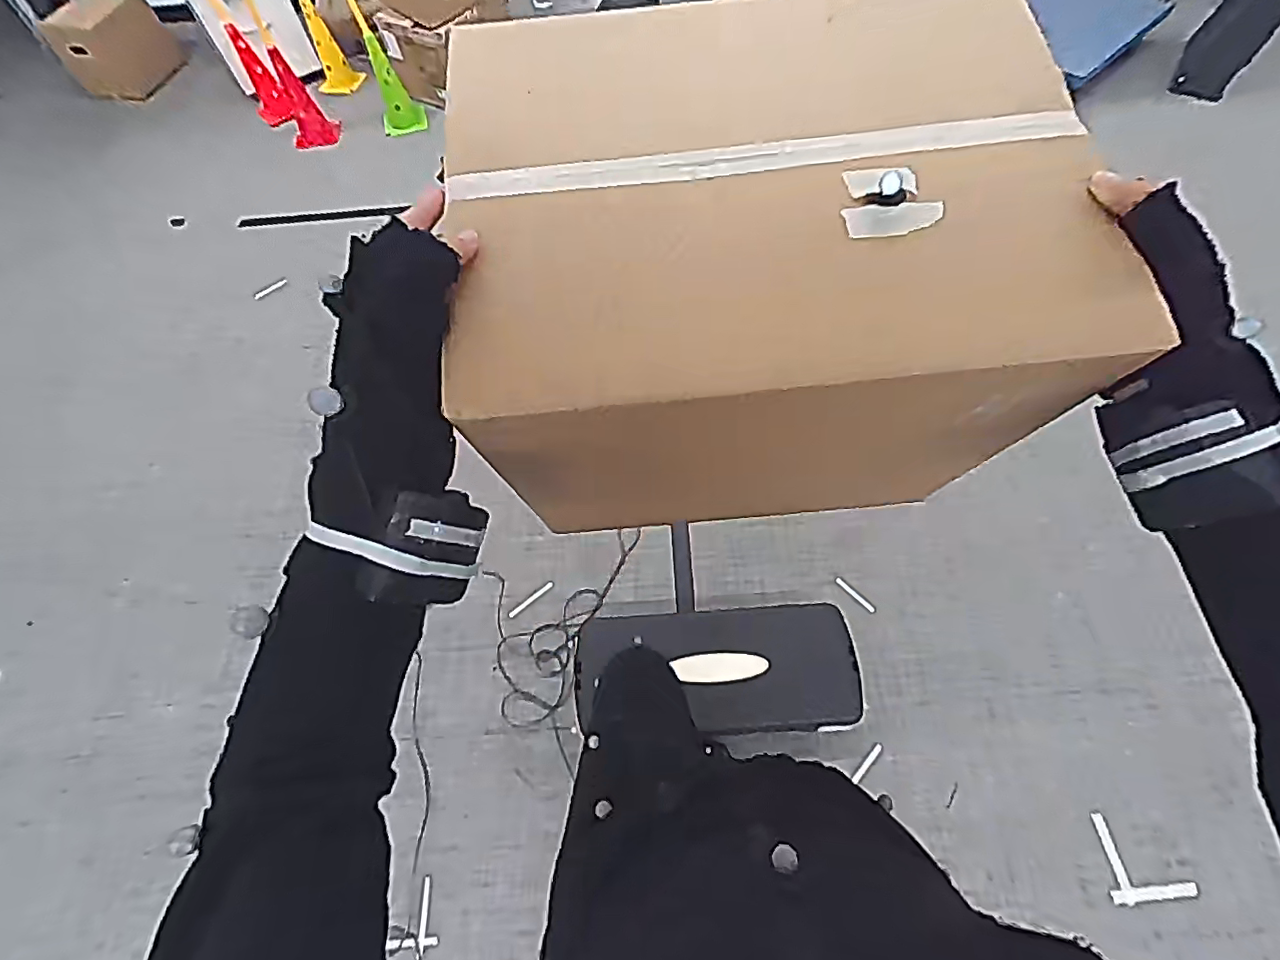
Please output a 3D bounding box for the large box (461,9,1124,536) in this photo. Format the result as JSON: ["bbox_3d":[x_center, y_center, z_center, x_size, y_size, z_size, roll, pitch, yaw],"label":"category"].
[{"bbox_3d":[0.079,-0.149,0.507,0.408,0.320,0.320,-6,72,0],"label":"large box"}]
